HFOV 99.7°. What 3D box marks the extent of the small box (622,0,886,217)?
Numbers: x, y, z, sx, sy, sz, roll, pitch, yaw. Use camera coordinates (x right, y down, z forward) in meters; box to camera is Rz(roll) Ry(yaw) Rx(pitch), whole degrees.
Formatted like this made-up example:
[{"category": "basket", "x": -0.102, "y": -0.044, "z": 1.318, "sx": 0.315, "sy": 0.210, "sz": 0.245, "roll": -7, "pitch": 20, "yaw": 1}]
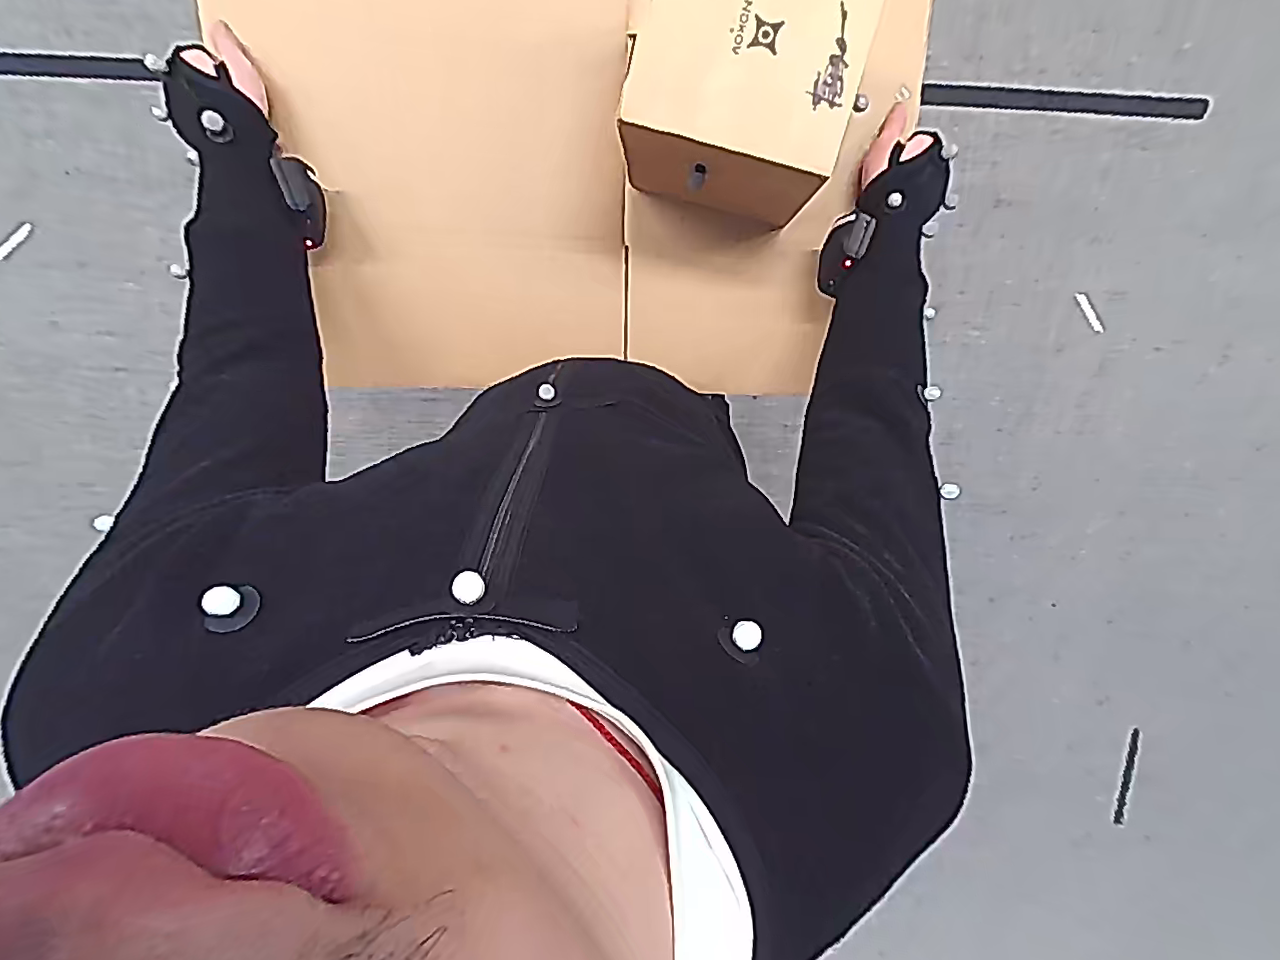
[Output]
[{"category": "small box", "x": 0.094, "y": -0.359, "z": 0.487, "sx": 0.179, "sy": 0.176, "sz": 0.168, "roll": 15, "pitch": 103, "yaw": 0}]
